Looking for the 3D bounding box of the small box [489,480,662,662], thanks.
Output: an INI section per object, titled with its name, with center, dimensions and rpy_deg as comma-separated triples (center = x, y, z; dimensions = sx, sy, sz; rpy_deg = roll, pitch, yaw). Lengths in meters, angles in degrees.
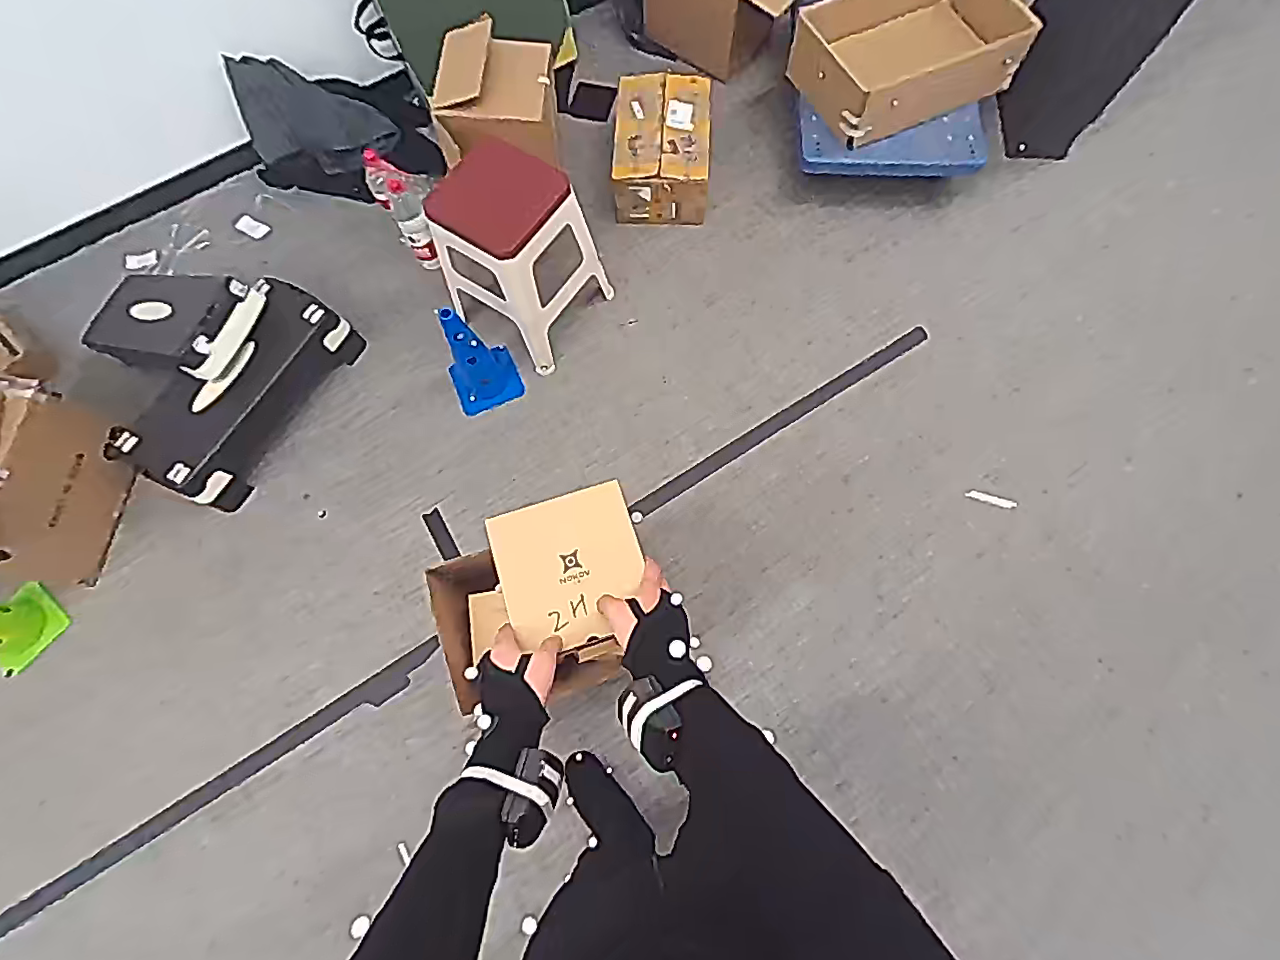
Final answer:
[small box]
center = -0.079, 0.123, 0.697
dimensions = 0.168, 0.176, 0.179
rpy_deg = -17, 75, -5
